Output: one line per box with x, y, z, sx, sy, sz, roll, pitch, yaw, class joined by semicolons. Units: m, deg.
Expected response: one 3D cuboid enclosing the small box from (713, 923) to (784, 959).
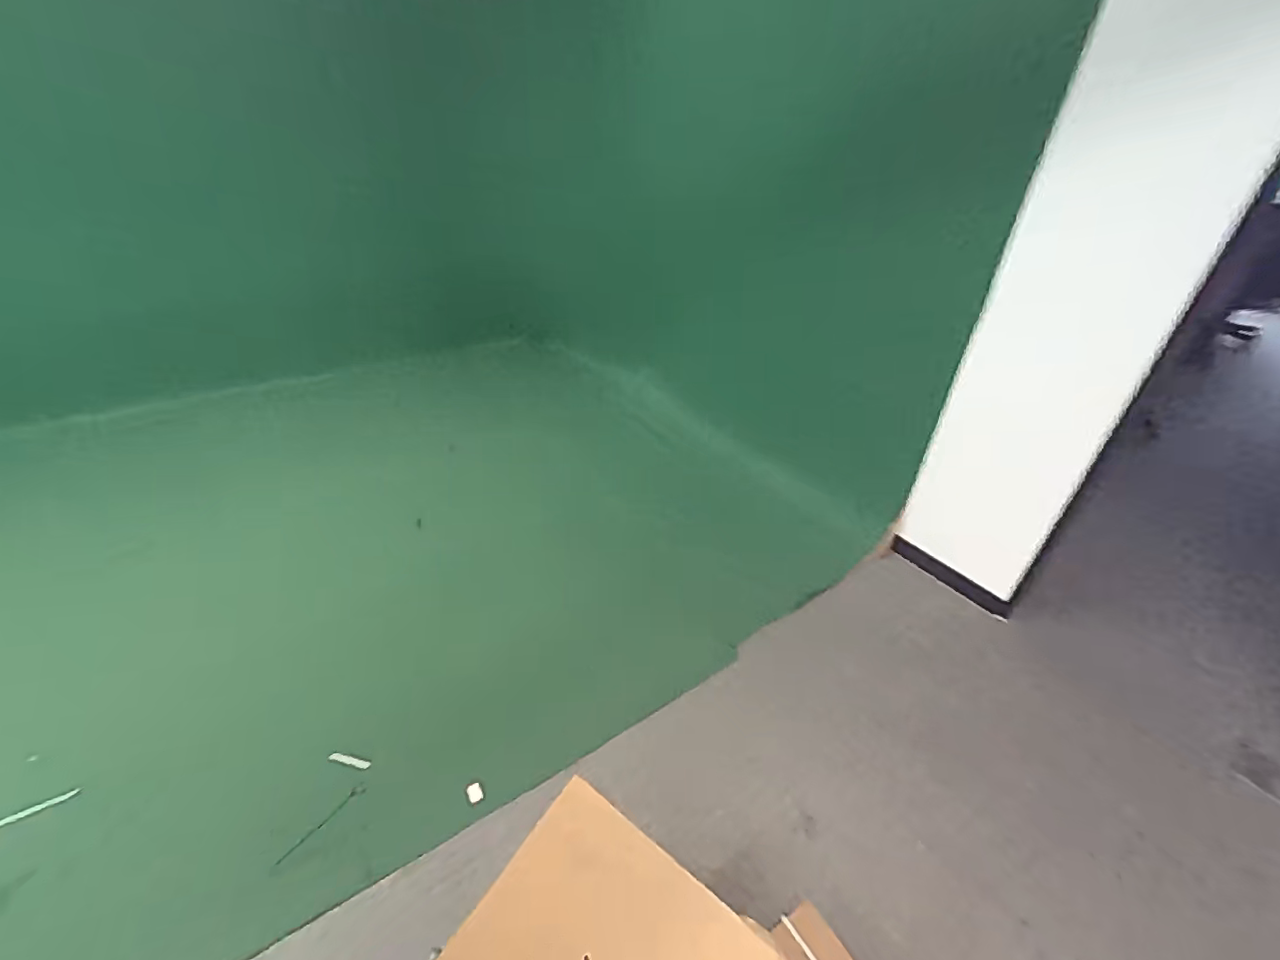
0.157;0.837;0.816;0.179;0.176;0.168;-16;39;-27;small box
